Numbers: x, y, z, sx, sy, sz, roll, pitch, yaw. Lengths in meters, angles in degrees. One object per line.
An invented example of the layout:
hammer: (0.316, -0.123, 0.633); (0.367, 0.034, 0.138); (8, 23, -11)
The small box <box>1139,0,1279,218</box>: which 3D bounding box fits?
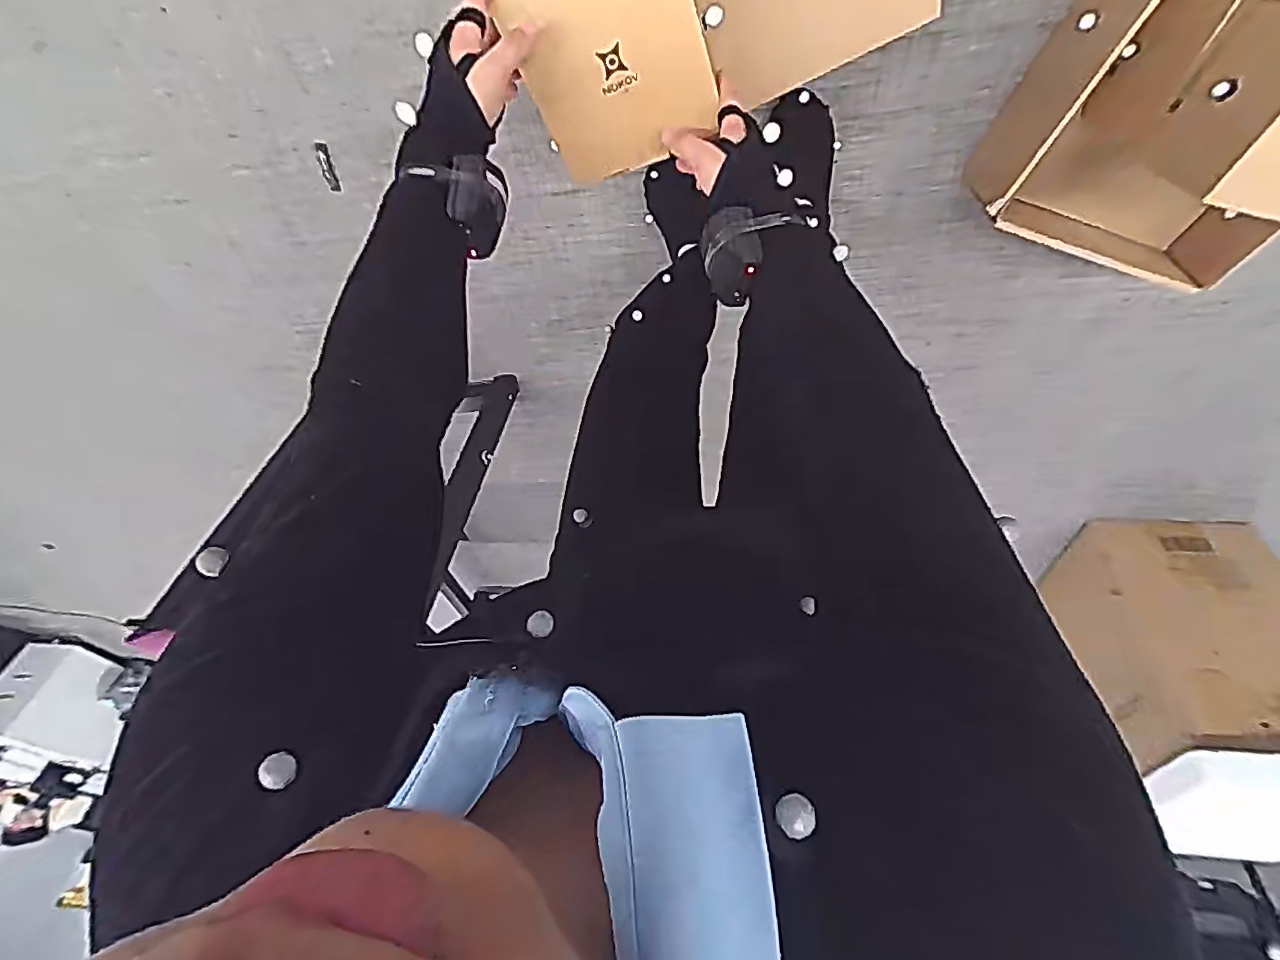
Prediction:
small box: (0.728, -0.403, 0.597); (0.179, 0.176, 0.168); (11, 137, -4)
